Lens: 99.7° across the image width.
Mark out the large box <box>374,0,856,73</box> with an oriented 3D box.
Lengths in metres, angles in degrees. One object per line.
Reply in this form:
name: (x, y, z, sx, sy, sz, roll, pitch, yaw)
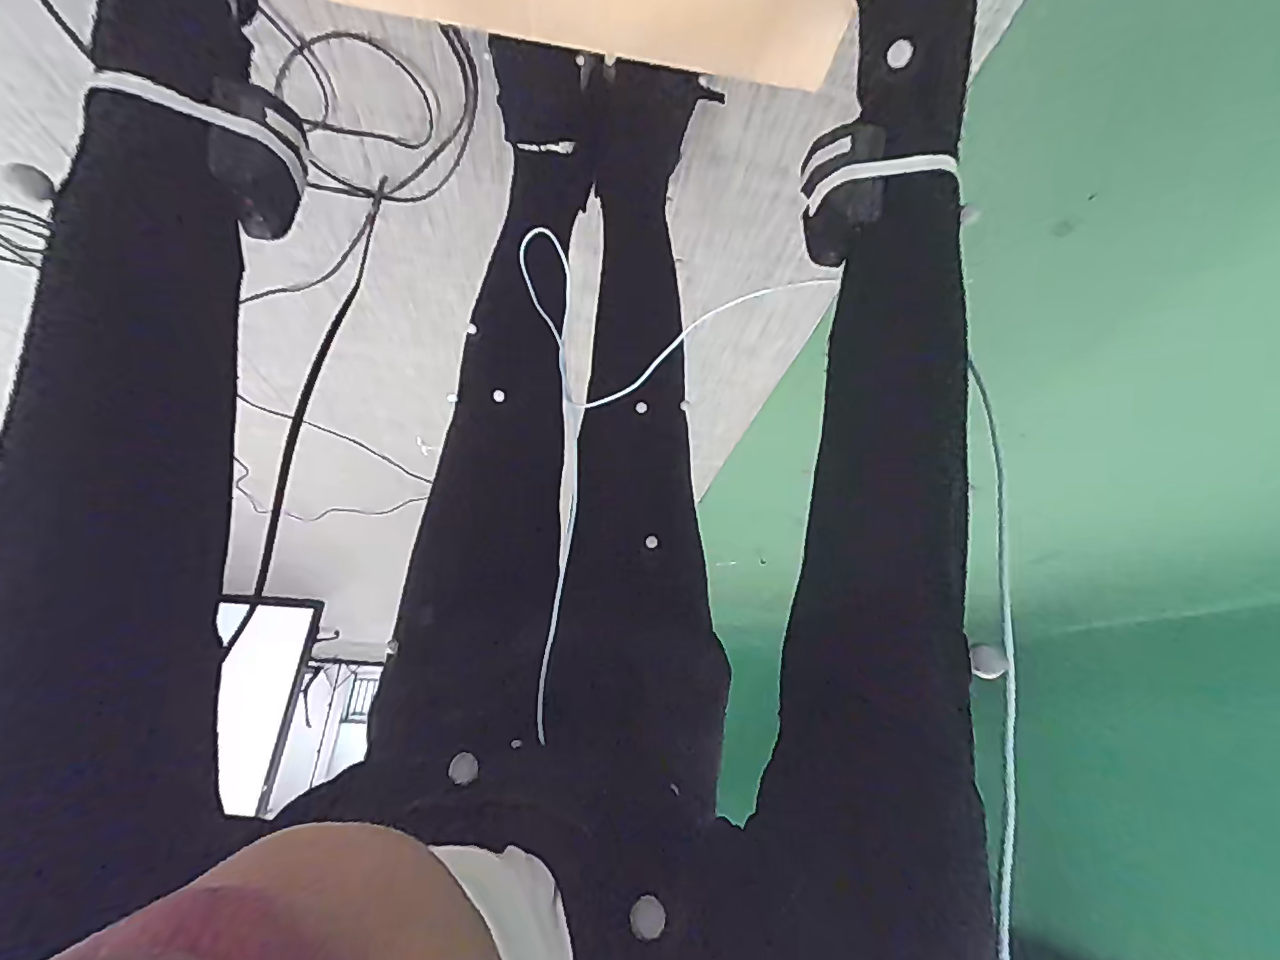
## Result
large box: (-0.016, -0.555, 0.361, 0.408, 0.320, 0.320, 5, 156, -7)
